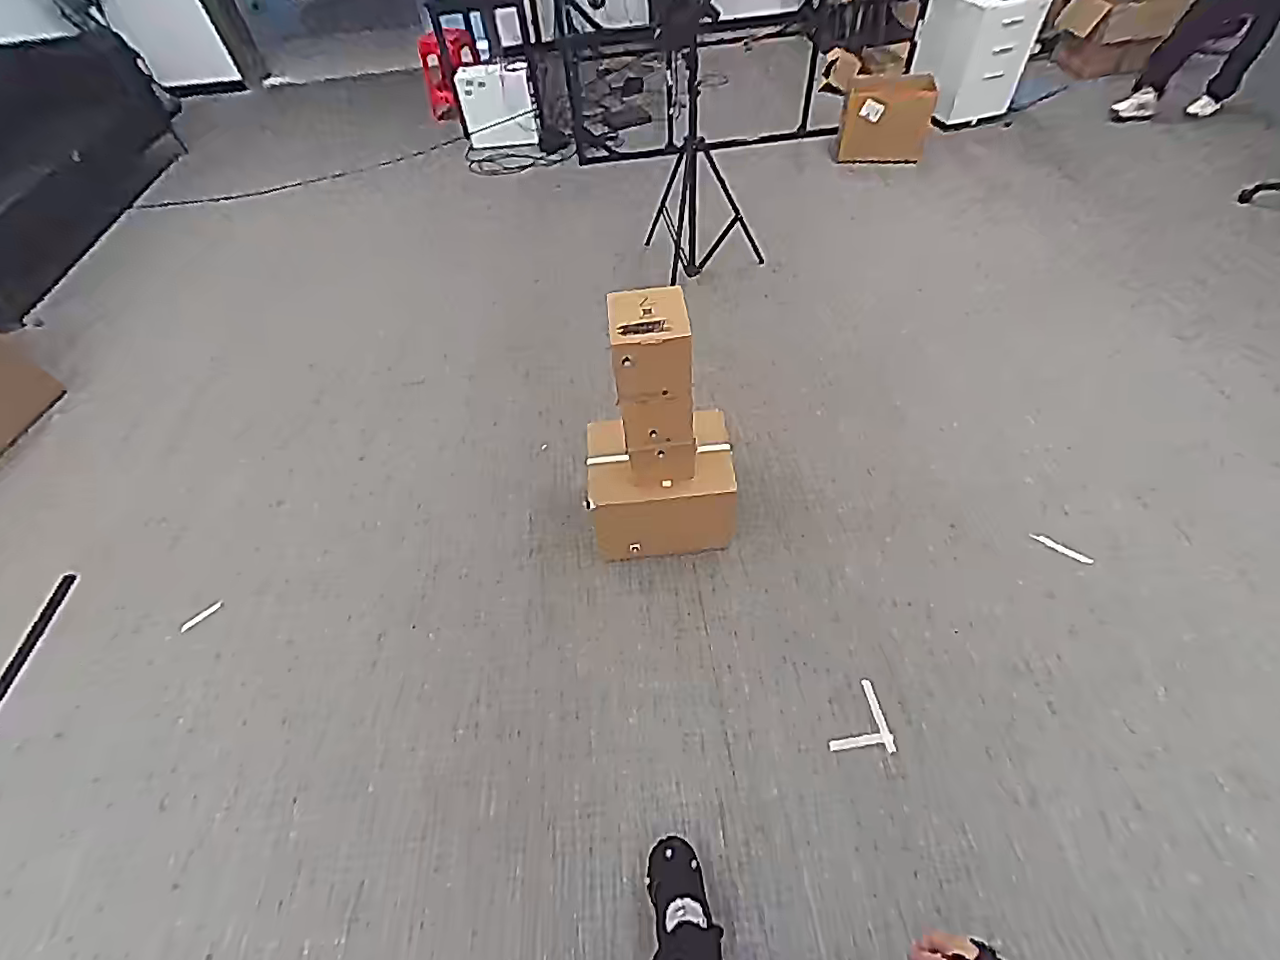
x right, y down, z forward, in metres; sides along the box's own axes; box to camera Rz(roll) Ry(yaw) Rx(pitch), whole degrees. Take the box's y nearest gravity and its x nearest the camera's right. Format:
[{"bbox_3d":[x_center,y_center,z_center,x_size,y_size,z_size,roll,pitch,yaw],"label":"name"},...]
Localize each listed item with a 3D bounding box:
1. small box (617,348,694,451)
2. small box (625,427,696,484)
[{"bbox_3d":[0.036,-0.195,1.321,0.168,0.176,0.179,-7,54,0],"label":"small box"},{"bbox_3d":[0.052,-0.105,1.455,0.179,0.176,0.168,-7,54,-1],"label":"small box"}]
